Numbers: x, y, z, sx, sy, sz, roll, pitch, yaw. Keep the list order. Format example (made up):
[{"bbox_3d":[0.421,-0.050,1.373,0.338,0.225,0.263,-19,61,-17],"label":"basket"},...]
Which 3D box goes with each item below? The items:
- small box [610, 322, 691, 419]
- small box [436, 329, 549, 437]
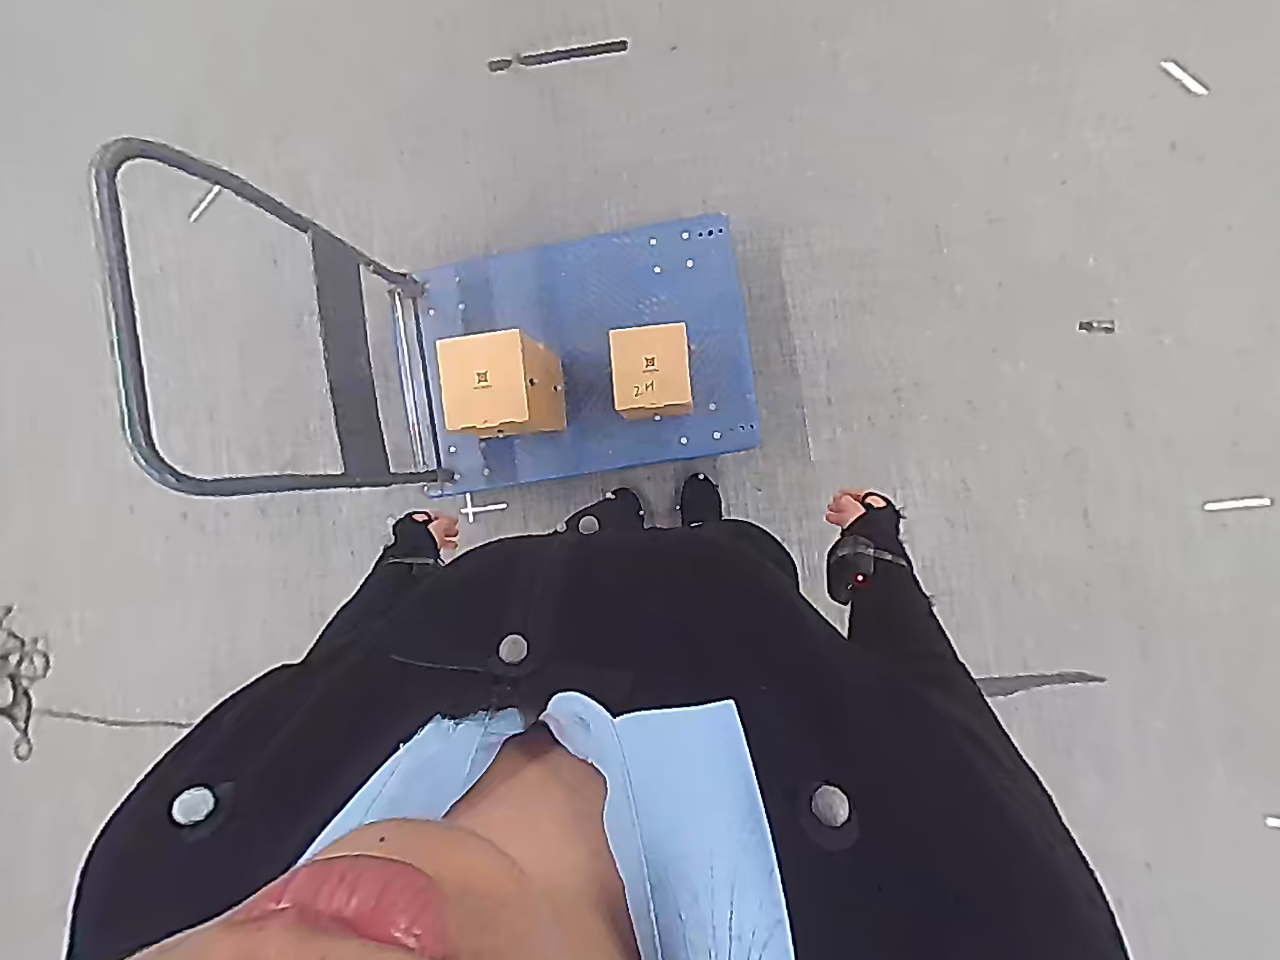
[{"bbox_3d":[0.027,-0.241,1.223,0.168,0.176,0.179,-5,90,6],"label":"small box"},{"bbox_3d":[-0.289,-0.187,1.088,0.168,0.176,0.179,-7,90,5],"label":"small box"}]
